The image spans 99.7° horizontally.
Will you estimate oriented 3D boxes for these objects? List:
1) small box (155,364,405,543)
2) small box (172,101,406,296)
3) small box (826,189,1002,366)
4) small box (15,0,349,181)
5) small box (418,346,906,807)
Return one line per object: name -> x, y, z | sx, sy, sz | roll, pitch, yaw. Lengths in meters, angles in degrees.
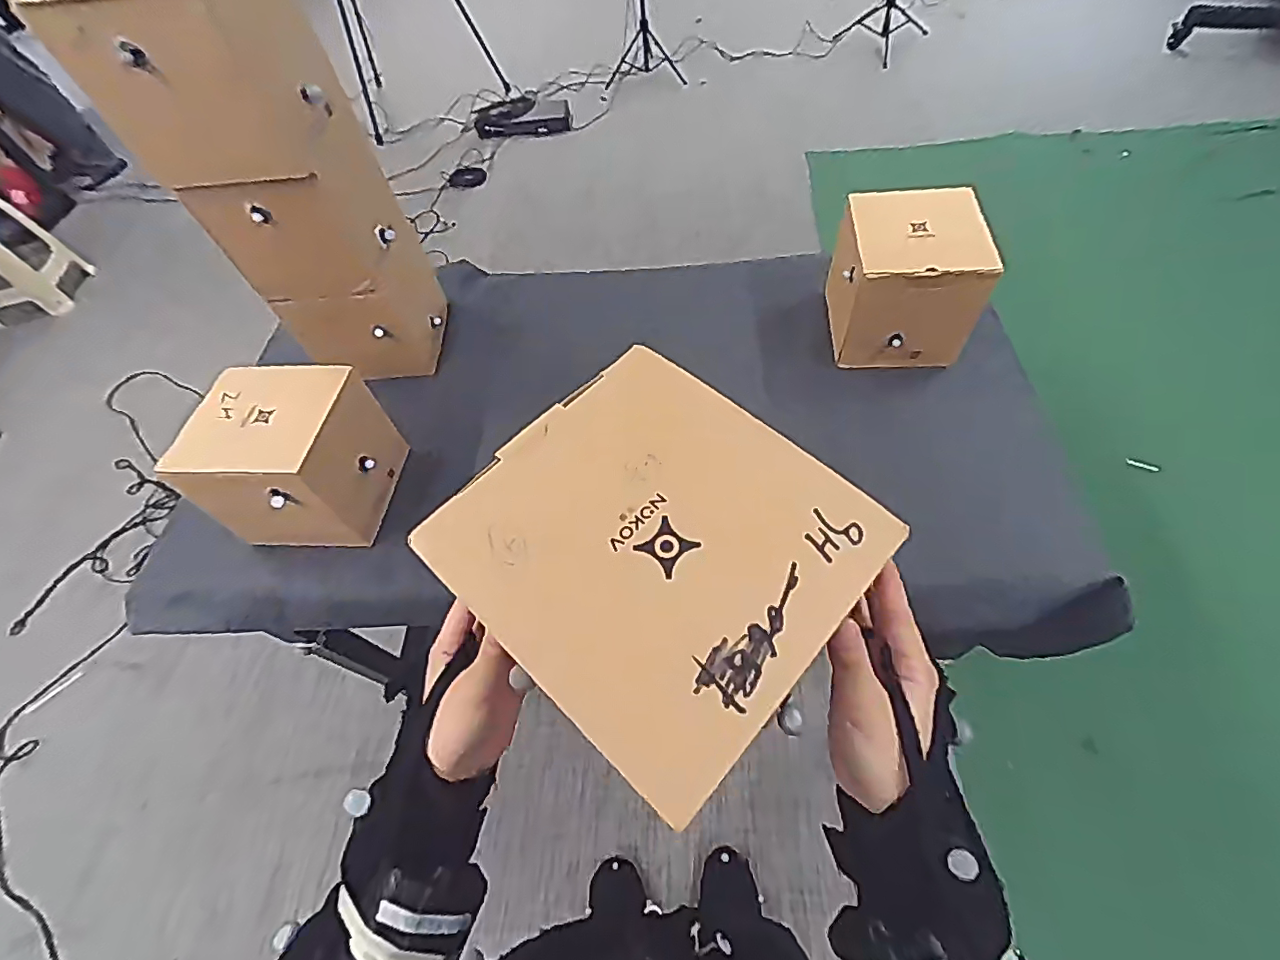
small box -> -0.434, -0.029, 0.693 | 0.179, 0.176, 0.168 | 0, 55, 6
small box -> -0.444, -0.365, 0.719 | 0.179, 0.176, 0.168 | -4, 60, 2
small box -> 0.372, -0.286, 0.774 | 0.168, 0.176, 0.179 | 1, 59, 7
small box -> -0.454, -0.443, 0.574 | 0.179, 0.176, 0.168 | -2, 60, 3
small box -> 0.011, 0.062, 0.325 | 0.179, 0.176, 0.168 | 38, 70, 21
